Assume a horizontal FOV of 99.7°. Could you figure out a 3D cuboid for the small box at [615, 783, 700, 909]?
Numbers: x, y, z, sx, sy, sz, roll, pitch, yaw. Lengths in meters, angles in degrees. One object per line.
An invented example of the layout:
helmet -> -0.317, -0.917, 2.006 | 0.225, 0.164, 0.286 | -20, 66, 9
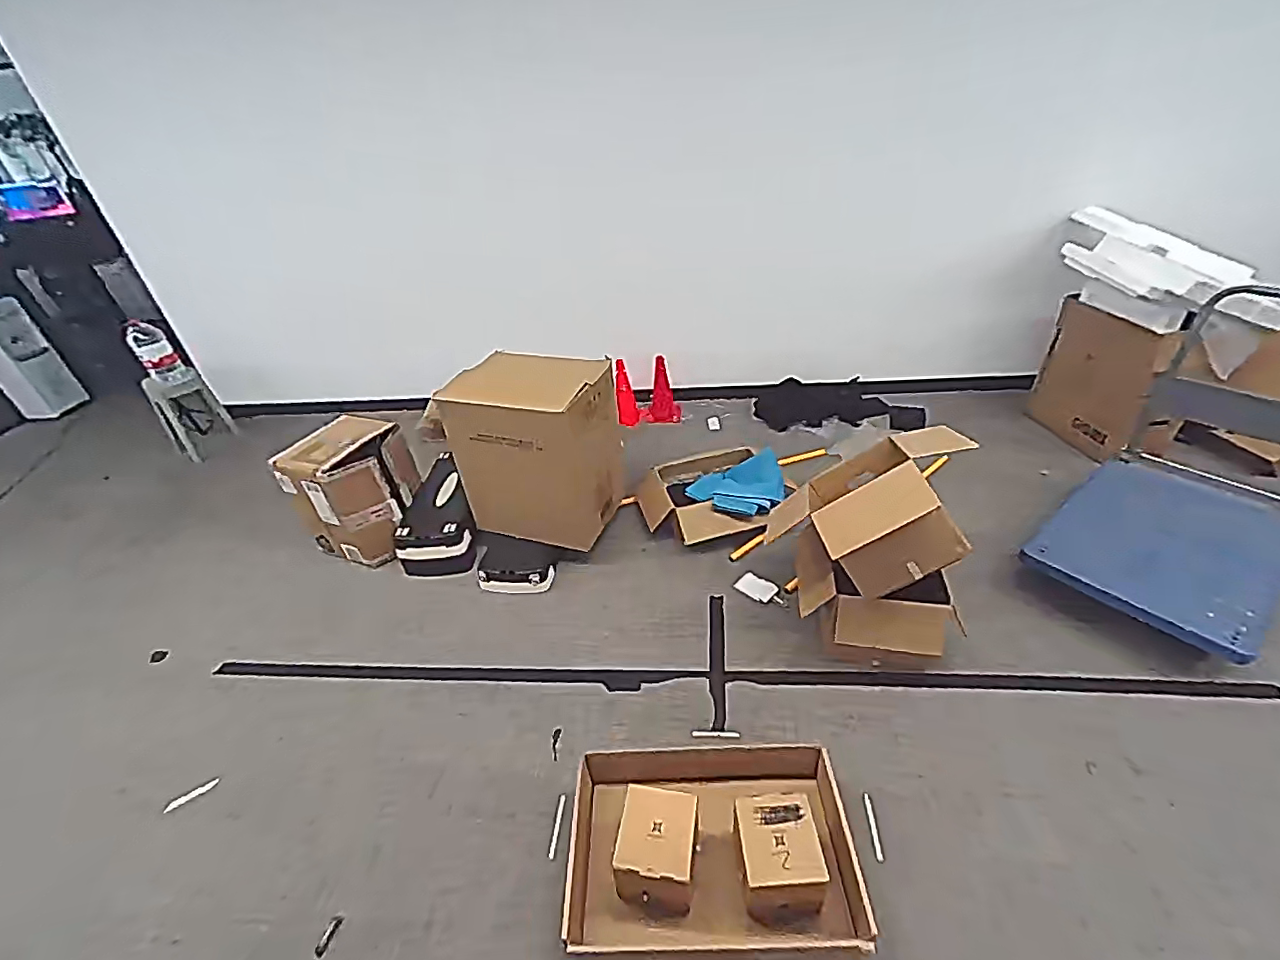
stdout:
small box -> 0.045, 0.835, 1.235 | 0.168, 0.176, 0.179 | 3, 36, 11
